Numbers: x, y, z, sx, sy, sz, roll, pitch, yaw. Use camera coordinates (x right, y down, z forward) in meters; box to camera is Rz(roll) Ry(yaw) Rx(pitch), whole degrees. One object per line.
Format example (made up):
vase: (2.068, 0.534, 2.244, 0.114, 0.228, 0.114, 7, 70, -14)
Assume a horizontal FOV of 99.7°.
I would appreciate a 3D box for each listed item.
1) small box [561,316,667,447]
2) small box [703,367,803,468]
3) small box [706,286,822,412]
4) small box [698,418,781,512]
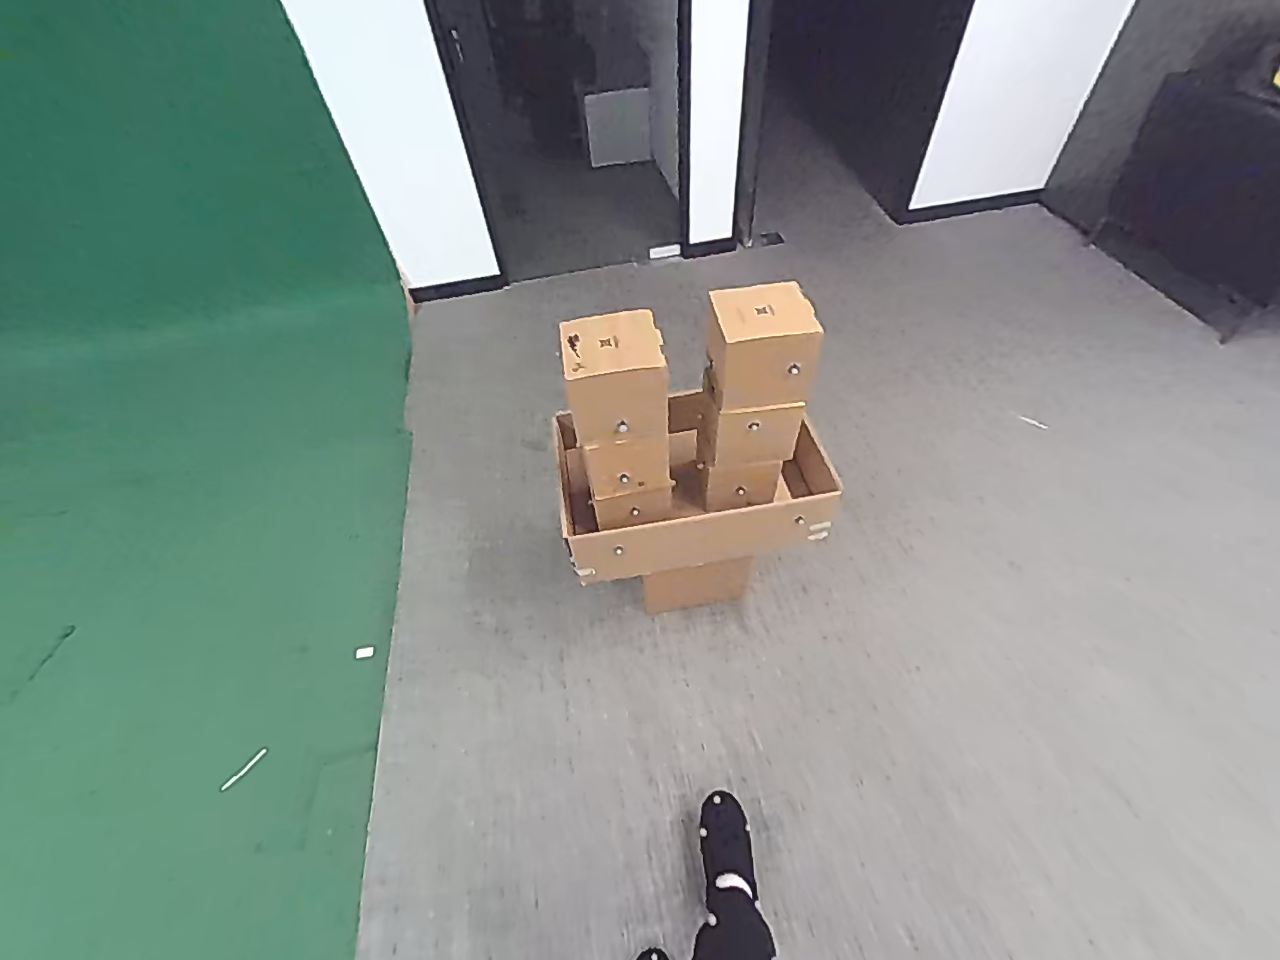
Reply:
small box: (-0.048, -0.183, 1.020, 0.179, 0.176, 0.168, -8, 50, -3)
small box: (0.235, -0.141, 1.172, 0.179, 0.176, 0.168, -6, 51, -1)
small box: (0.229, -0.252, 1.053, 0.179, 0.176, 0.168, -7, 50, -1)
small box: (0.231, -0.037, 1.299, 0.168, 0.176, 0.179, -6, 50, 0)
